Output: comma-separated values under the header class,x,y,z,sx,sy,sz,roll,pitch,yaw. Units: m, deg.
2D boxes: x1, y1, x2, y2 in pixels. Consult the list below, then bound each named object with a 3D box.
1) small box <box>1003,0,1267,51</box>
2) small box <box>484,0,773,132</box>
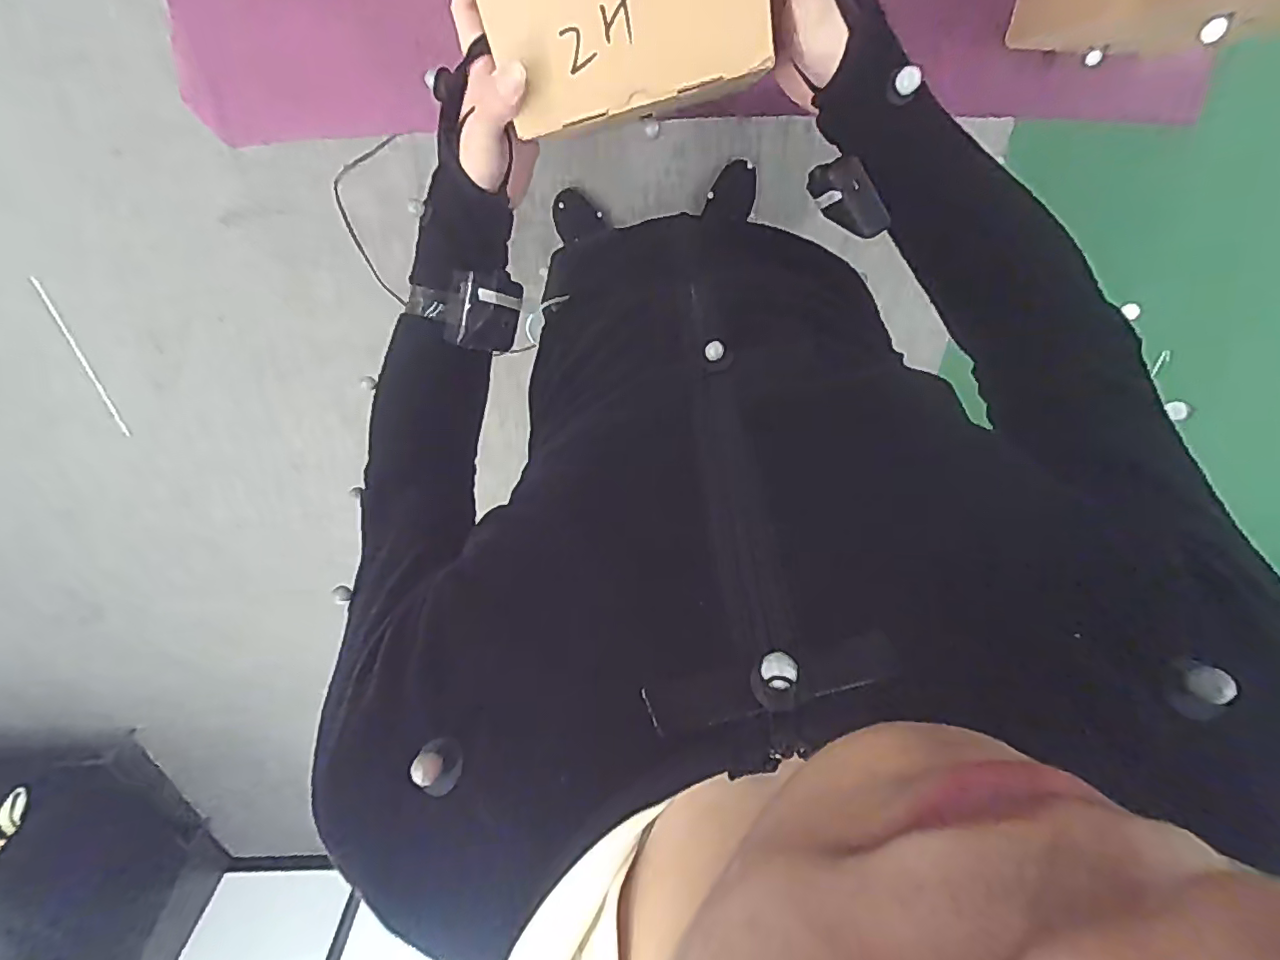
class,x,y,z,sx,sy,sz,roll,pitch,yaw
small box,0.510,-0.535,0.525,0.179,0.176,0.168,2,121,-2
small box,-0.013,-0.353,0.361,0.168,0.176,0.179,-9,121,10
